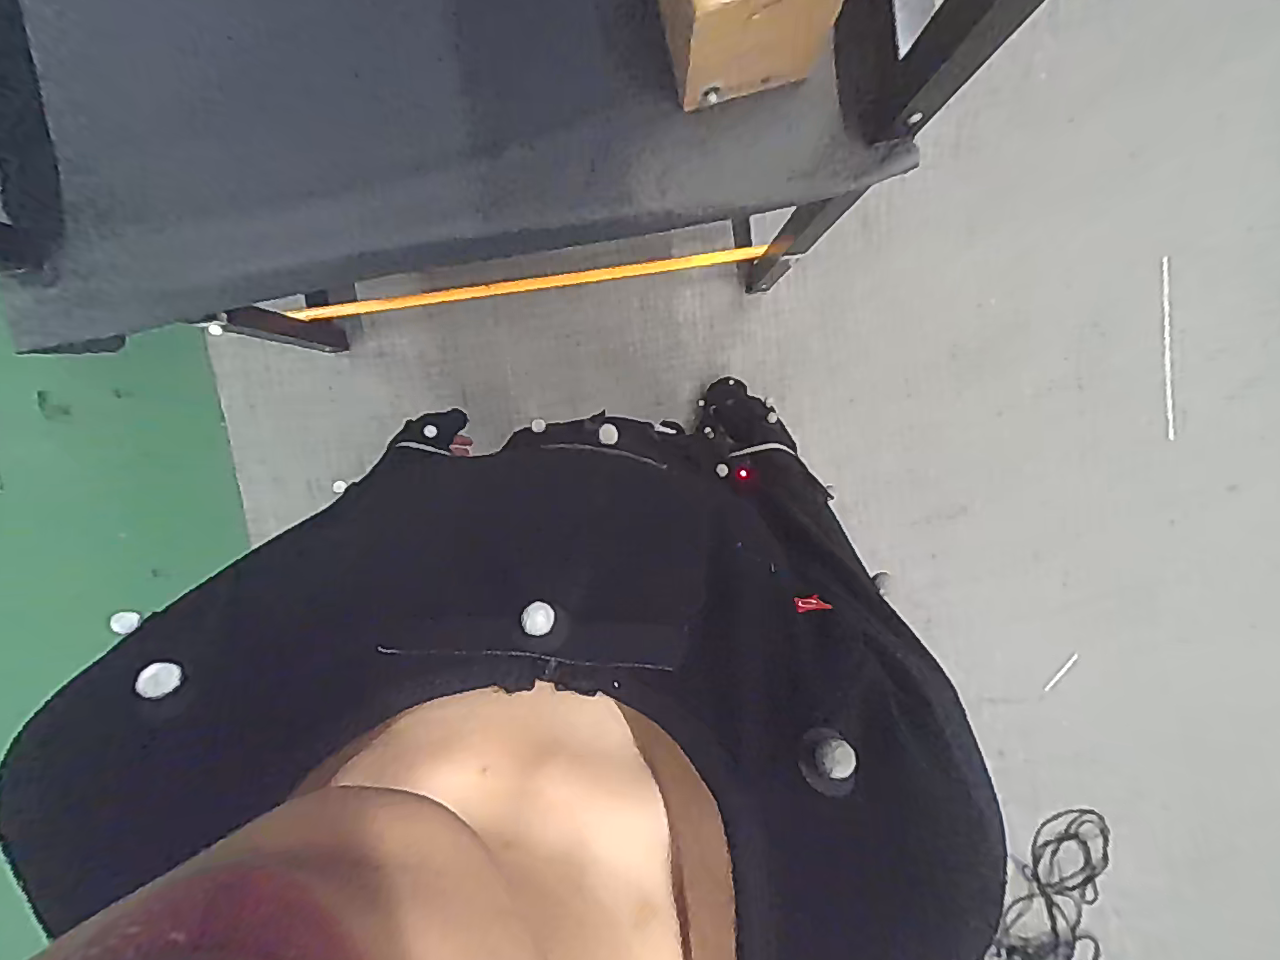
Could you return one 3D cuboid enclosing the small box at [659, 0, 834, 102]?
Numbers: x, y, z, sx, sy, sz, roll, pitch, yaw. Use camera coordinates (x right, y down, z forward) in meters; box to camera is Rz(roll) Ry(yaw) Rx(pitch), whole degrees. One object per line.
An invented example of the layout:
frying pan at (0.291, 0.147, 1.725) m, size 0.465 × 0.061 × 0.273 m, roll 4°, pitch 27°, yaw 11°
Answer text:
small box at (0.113, -0.564, 0.604) m, size 0.168 × 0.176 × 0.179 m, roll -14°, pitch 94°, yaw 2°
